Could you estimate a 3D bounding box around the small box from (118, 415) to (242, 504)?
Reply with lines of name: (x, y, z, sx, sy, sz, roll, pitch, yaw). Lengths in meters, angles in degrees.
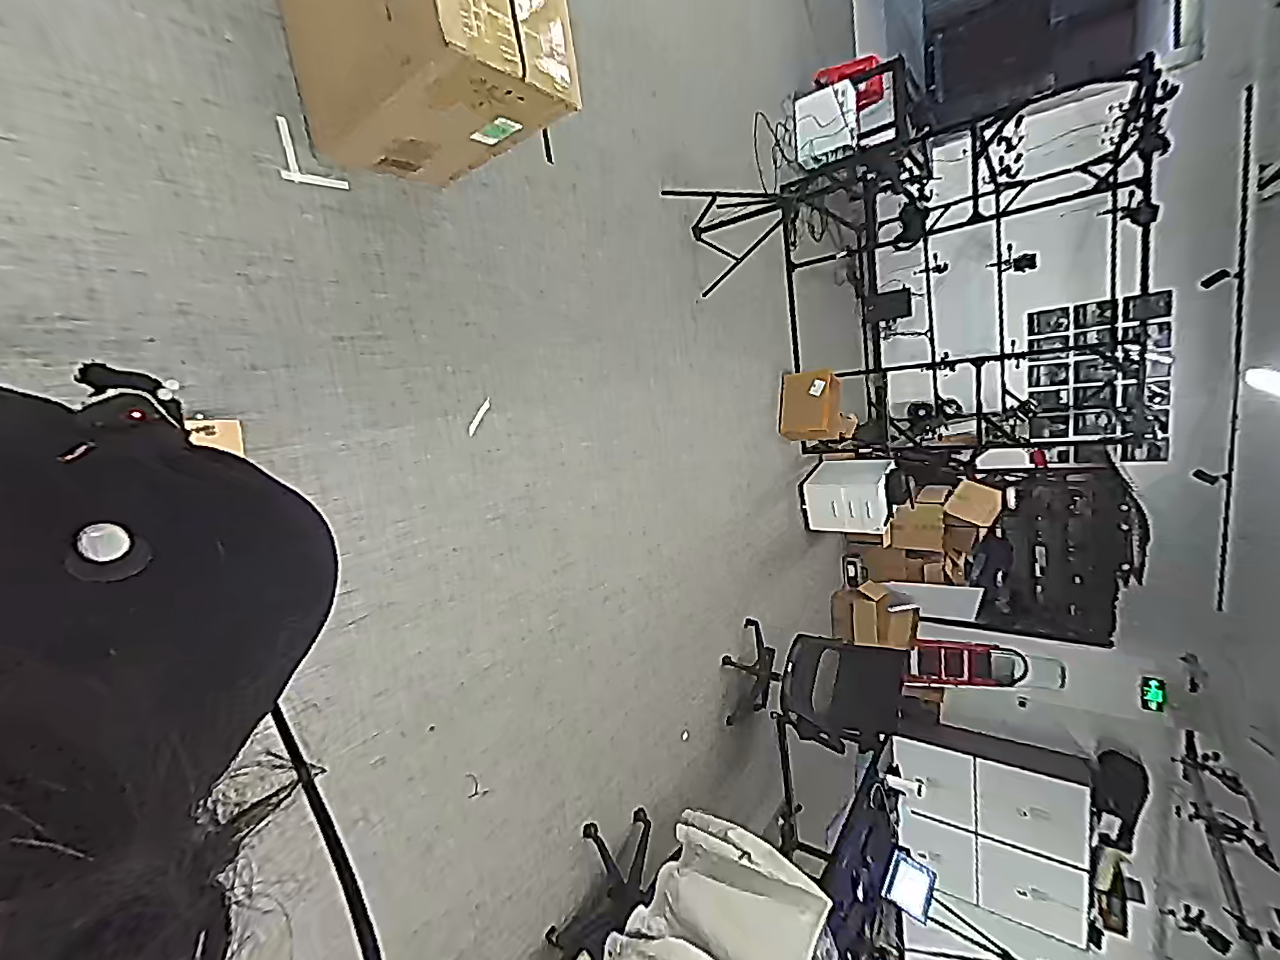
small box: (-0.990, -0.048, 1.164, 0.168, 0.176, 0.179, -9, 98, -53)
